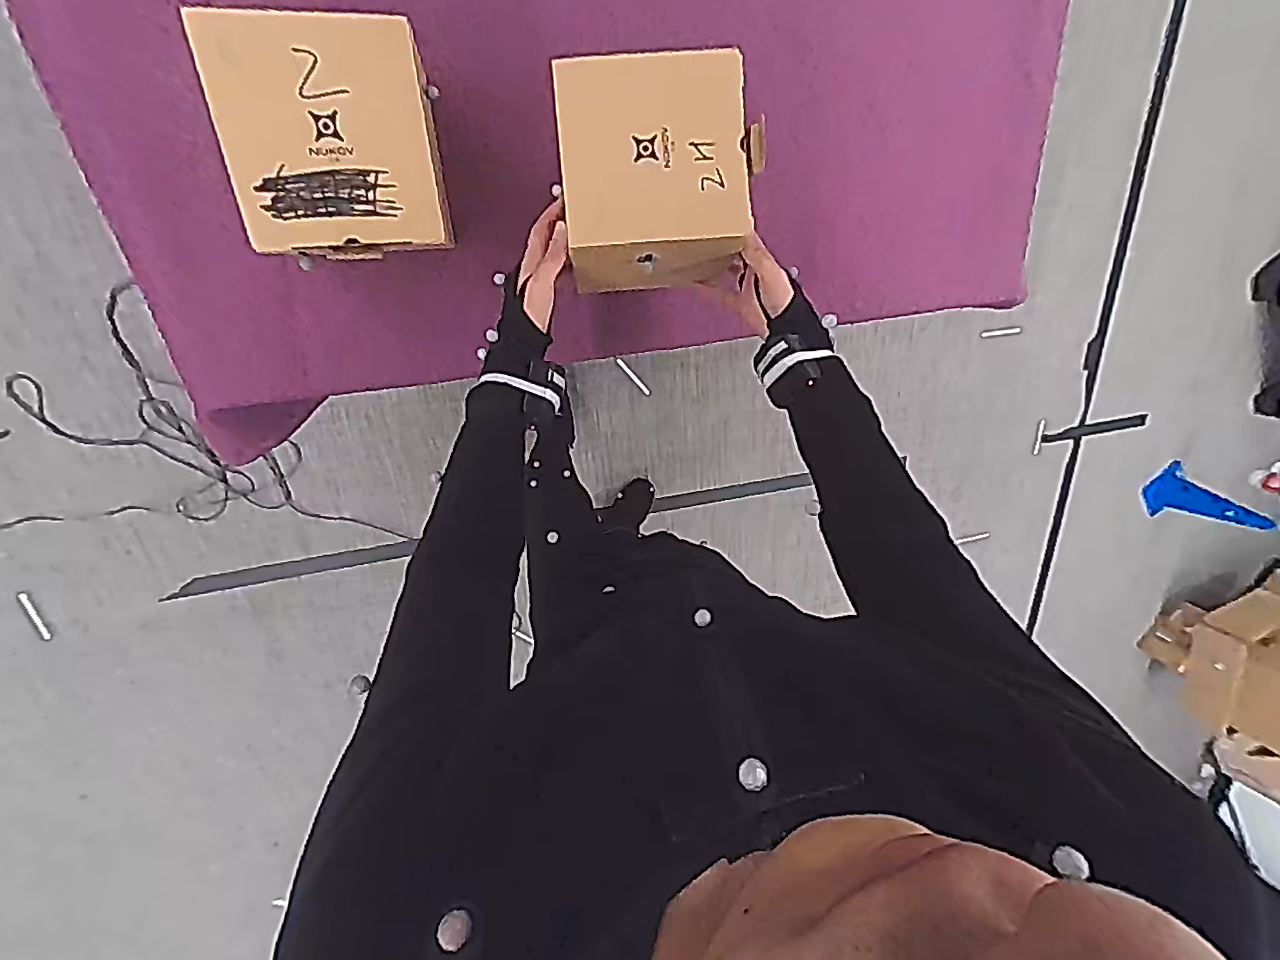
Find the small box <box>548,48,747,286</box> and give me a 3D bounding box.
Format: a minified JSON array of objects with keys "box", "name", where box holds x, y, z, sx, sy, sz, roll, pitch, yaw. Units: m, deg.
[{"box":[0.005,-0.314,0.576,0.179,0.176,0.168,-5,96,-3],"name":"small box"}]
